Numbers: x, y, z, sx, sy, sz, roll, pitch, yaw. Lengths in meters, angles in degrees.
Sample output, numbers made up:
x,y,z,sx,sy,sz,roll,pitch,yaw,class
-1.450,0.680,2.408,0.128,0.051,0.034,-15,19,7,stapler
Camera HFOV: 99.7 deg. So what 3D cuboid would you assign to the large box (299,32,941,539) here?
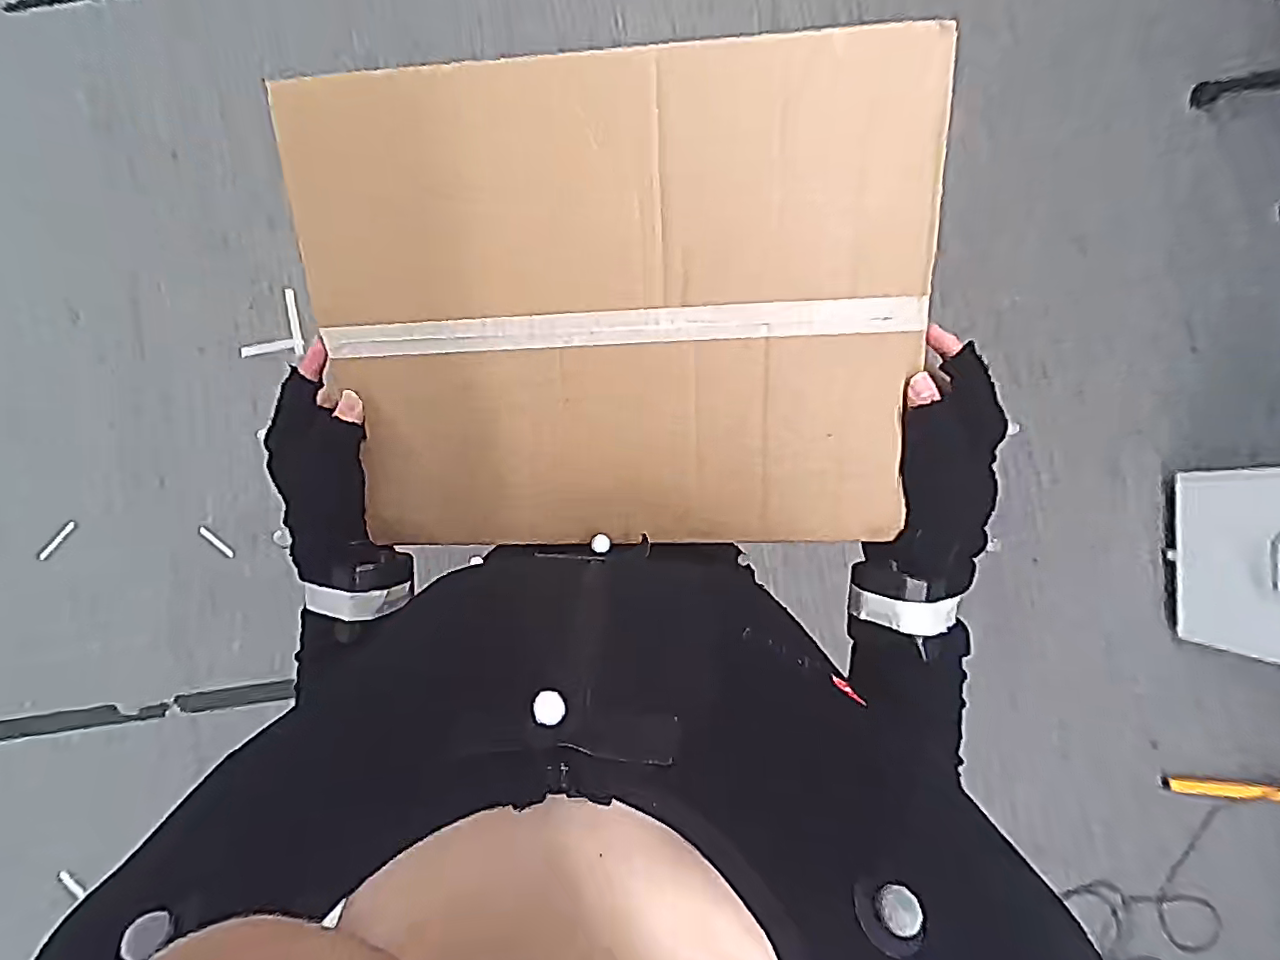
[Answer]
x,y,z,sx,sy,sz,roll,pitch,yaw,class
-0.005,-0.148,0.512,0.408,0.320,0.320,-1,108,5,large box
